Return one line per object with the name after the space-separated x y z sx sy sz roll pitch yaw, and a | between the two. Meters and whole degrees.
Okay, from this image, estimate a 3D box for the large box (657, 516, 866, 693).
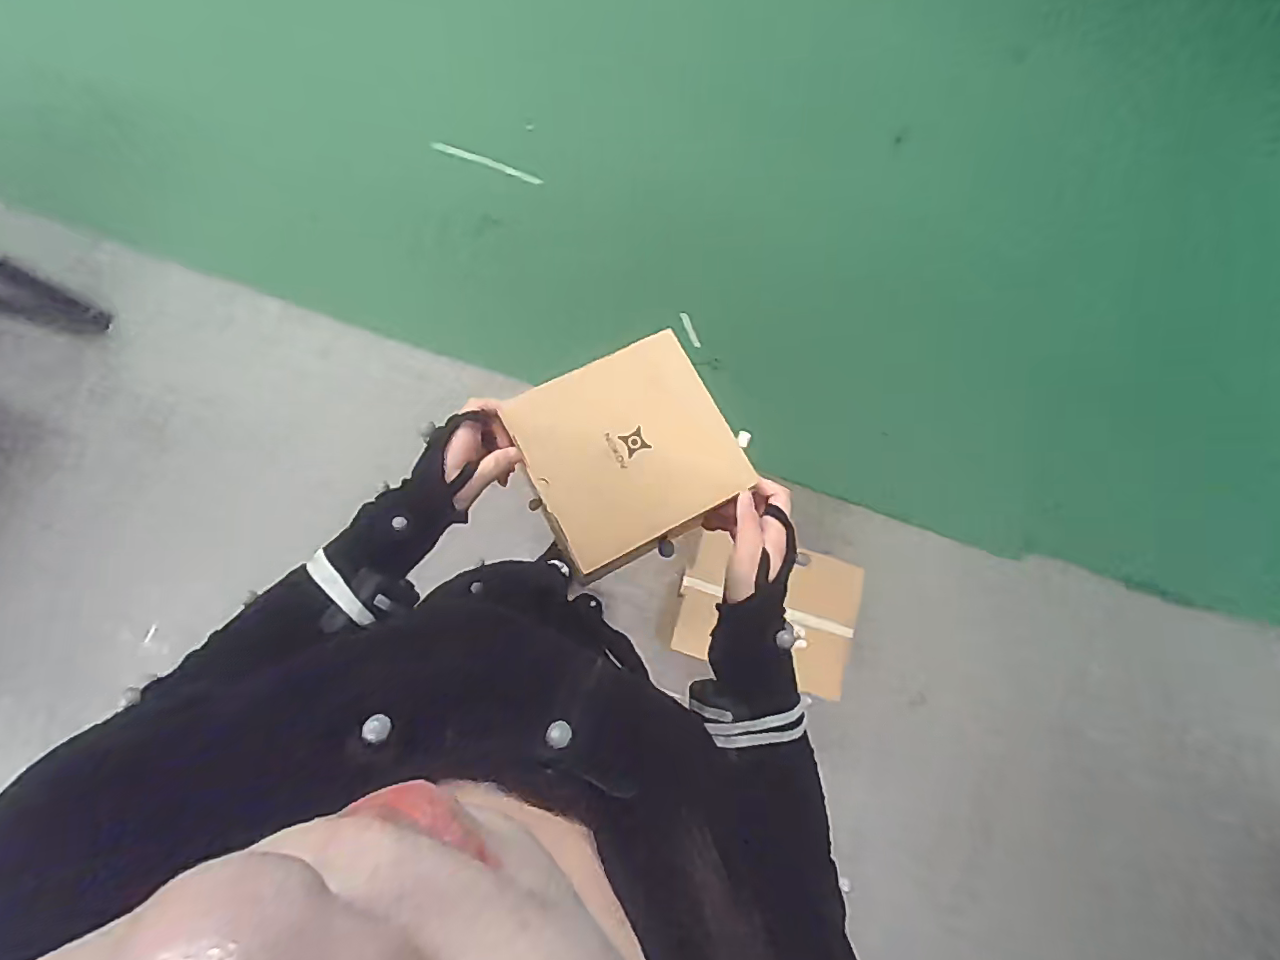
0.289 0.310 1.390 0.408 0.320 0.320 19 79 -2 | large box

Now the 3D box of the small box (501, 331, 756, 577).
-0.018 -0.014 0.545 0.179 0.176 0.168 -27 83 -11 | small box
